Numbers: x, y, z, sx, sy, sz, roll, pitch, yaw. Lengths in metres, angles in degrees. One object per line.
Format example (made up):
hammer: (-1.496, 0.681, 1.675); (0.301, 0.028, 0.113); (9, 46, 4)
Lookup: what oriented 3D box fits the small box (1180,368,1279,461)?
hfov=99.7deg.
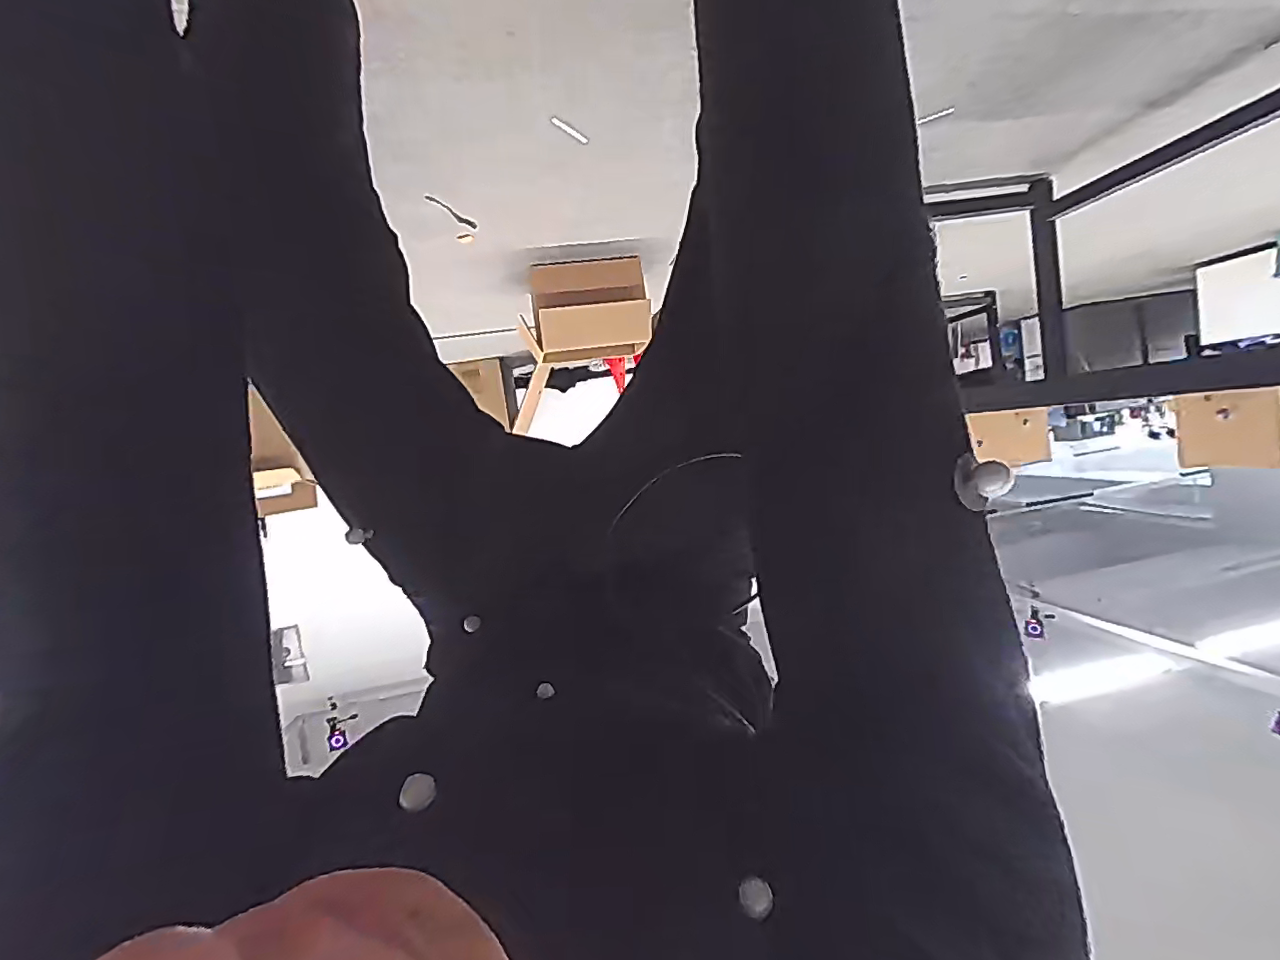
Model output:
small box: (1.258, -0.137, 1.099); (0.179, 0.176, 0.168); (-10, -176, -14)

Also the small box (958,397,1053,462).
small box: (1.084, -0.151, 1.614); (0.168, 0.176, 0.179); (-11, -176, -10)
